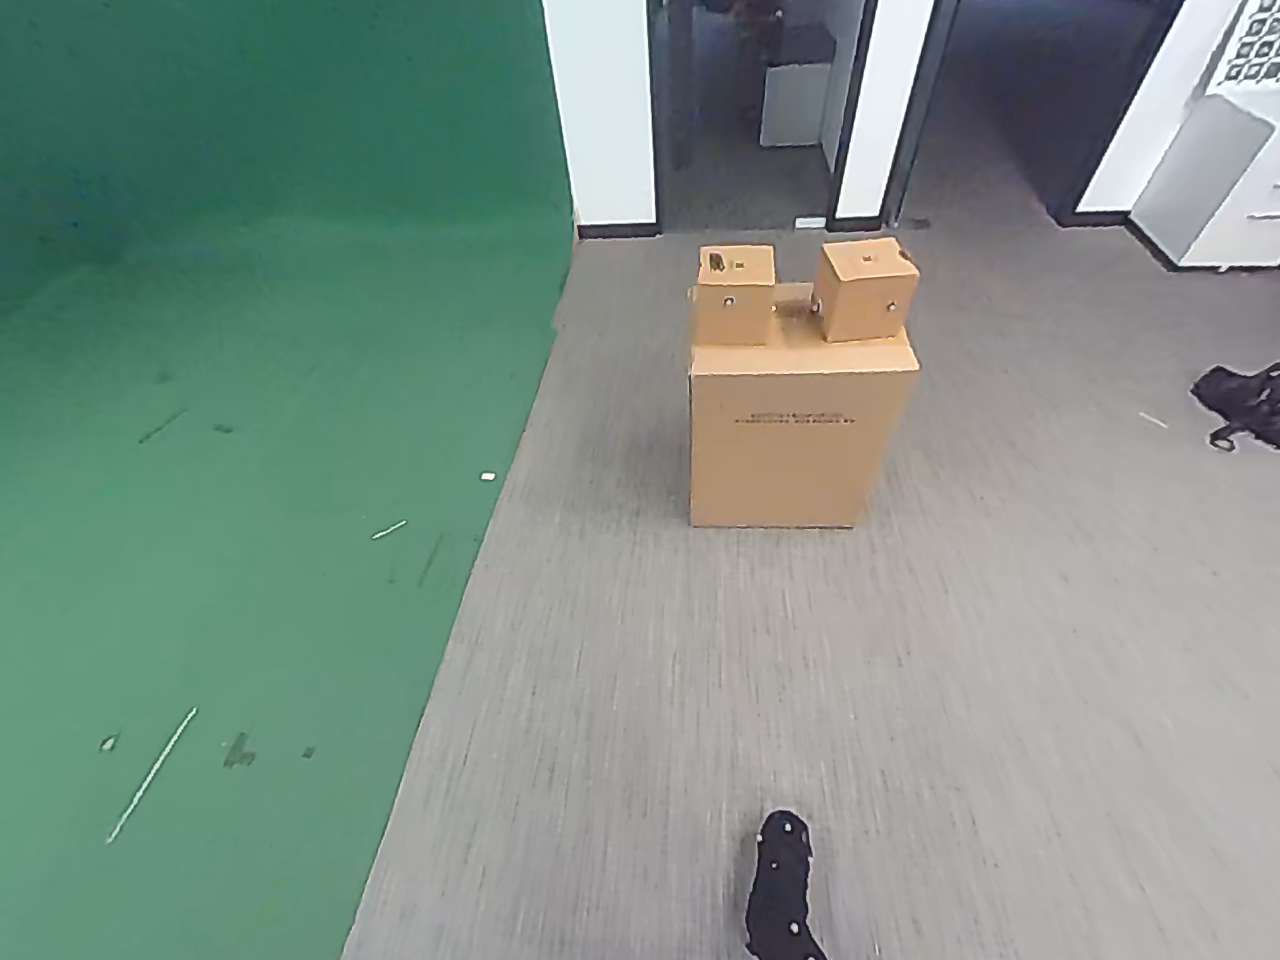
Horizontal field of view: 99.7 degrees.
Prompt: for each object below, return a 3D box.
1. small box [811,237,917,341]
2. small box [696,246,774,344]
[{"bbox_3d":[0.529,-0.456,1.303,0.179,0.176,0.168,-7,51,2],"label":"small box"},{"bbox_3d":[0.231,-0.451,1.328,0.179,0.176,0.168,3,53,8],"label":"small box"}]
